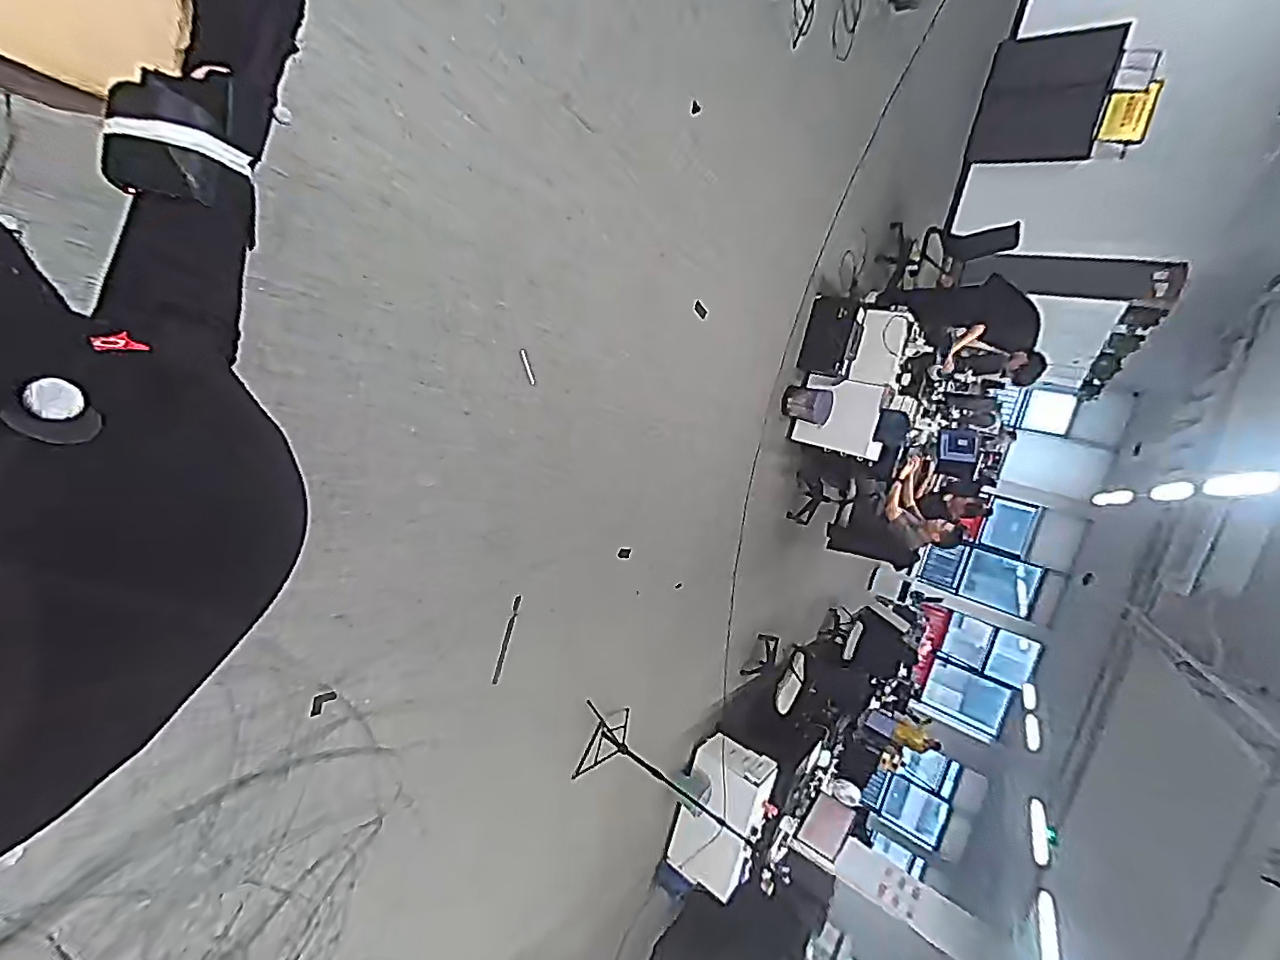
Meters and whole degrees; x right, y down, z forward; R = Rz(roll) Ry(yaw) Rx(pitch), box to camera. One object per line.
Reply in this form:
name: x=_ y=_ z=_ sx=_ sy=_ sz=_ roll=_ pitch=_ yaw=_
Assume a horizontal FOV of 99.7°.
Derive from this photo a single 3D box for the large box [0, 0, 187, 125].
large box: x=-0.519 y=-0.447 z=0.264 sx=0.408 sy=0.320 sz=0.320 roll=-2 pitch=115 yaw=-60
